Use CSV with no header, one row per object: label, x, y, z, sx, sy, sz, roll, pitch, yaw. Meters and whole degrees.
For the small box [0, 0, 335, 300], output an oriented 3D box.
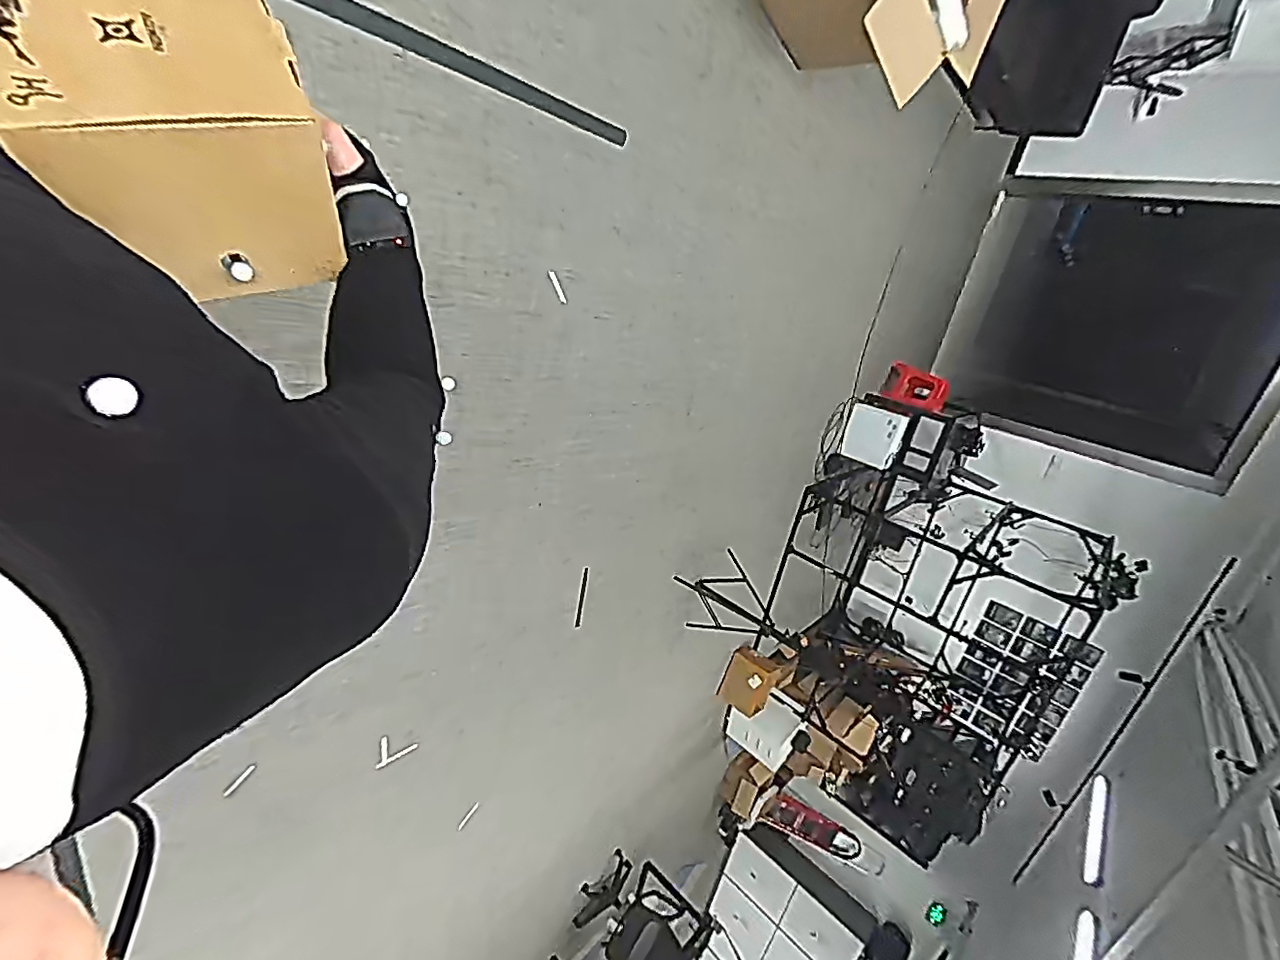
small box,-0.376,-0.278,0.452,0.179,0.168,0.176,-22,167,-27
